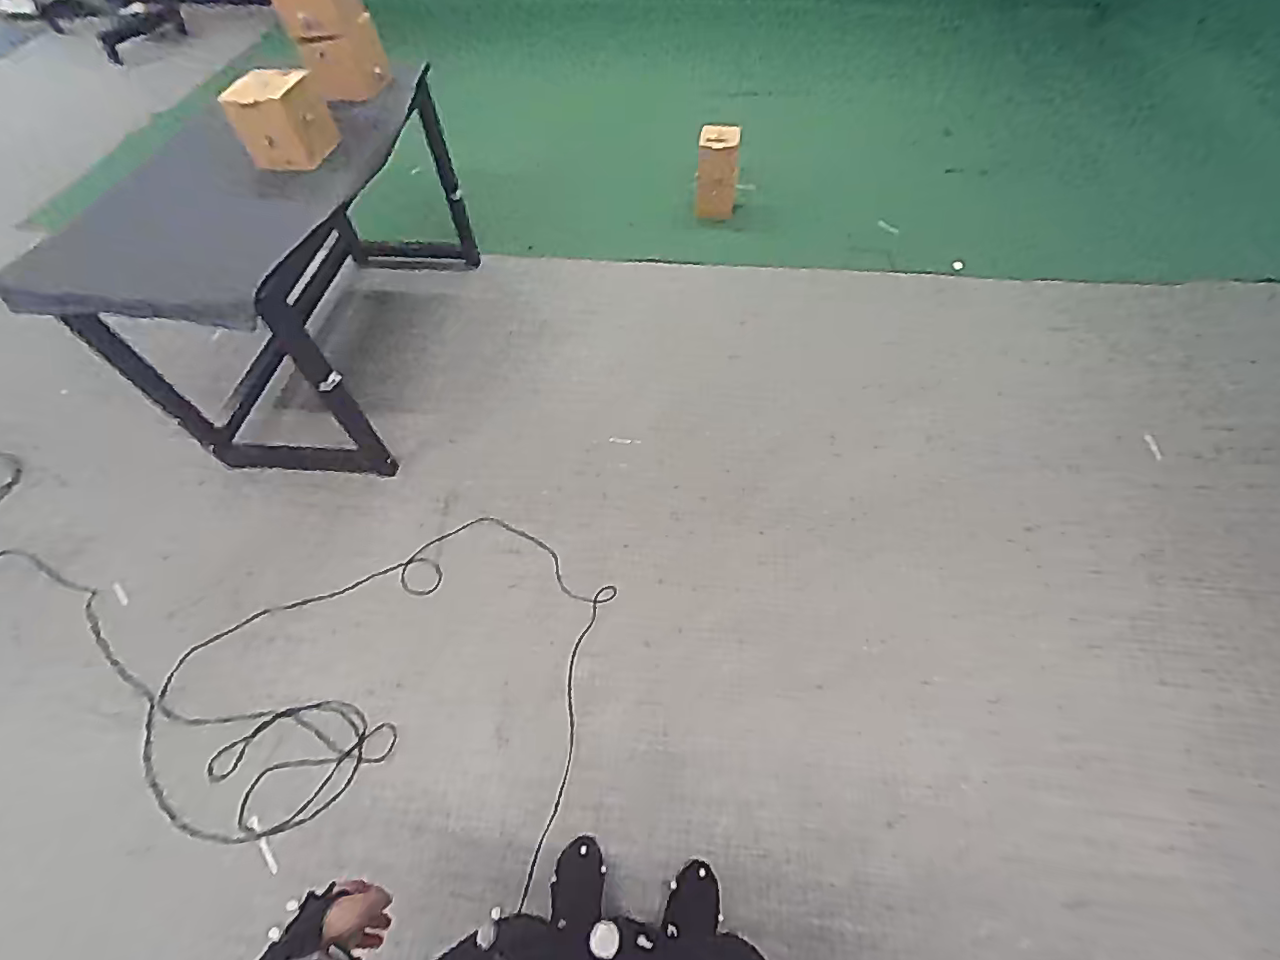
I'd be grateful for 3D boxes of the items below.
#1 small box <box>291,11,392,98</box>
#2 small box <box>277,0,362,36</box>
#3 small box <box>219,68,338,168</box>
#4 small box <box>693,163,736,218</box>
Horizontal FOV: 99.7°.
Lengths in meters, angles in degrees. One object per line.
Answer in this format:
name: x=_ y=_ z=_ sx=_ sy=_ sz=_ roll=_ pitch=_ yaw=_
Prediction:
small box: x=-0.893 y=-1.283 z=1.633 sx=0.179 sy=0.176 sz=0.168 roll=8 pitch=58 yaw=8
small box: x=-0.902 y=-1.362 z=1.491 sx=0.168 sy=0.176 sz=0.179 roll=0 pitch=58 yaw=5
small box: x=-0.932 y=-0.944 z=1.416 sx=0.168 sy=0.176 sz=0.179 roll=5 pitch=58 yaw=6
small box: x=0.349 y=-1.356 z=2.538 sx=0.179 sy=0.176 sz=0.168 roll=7 pitch=58 yaw=6
